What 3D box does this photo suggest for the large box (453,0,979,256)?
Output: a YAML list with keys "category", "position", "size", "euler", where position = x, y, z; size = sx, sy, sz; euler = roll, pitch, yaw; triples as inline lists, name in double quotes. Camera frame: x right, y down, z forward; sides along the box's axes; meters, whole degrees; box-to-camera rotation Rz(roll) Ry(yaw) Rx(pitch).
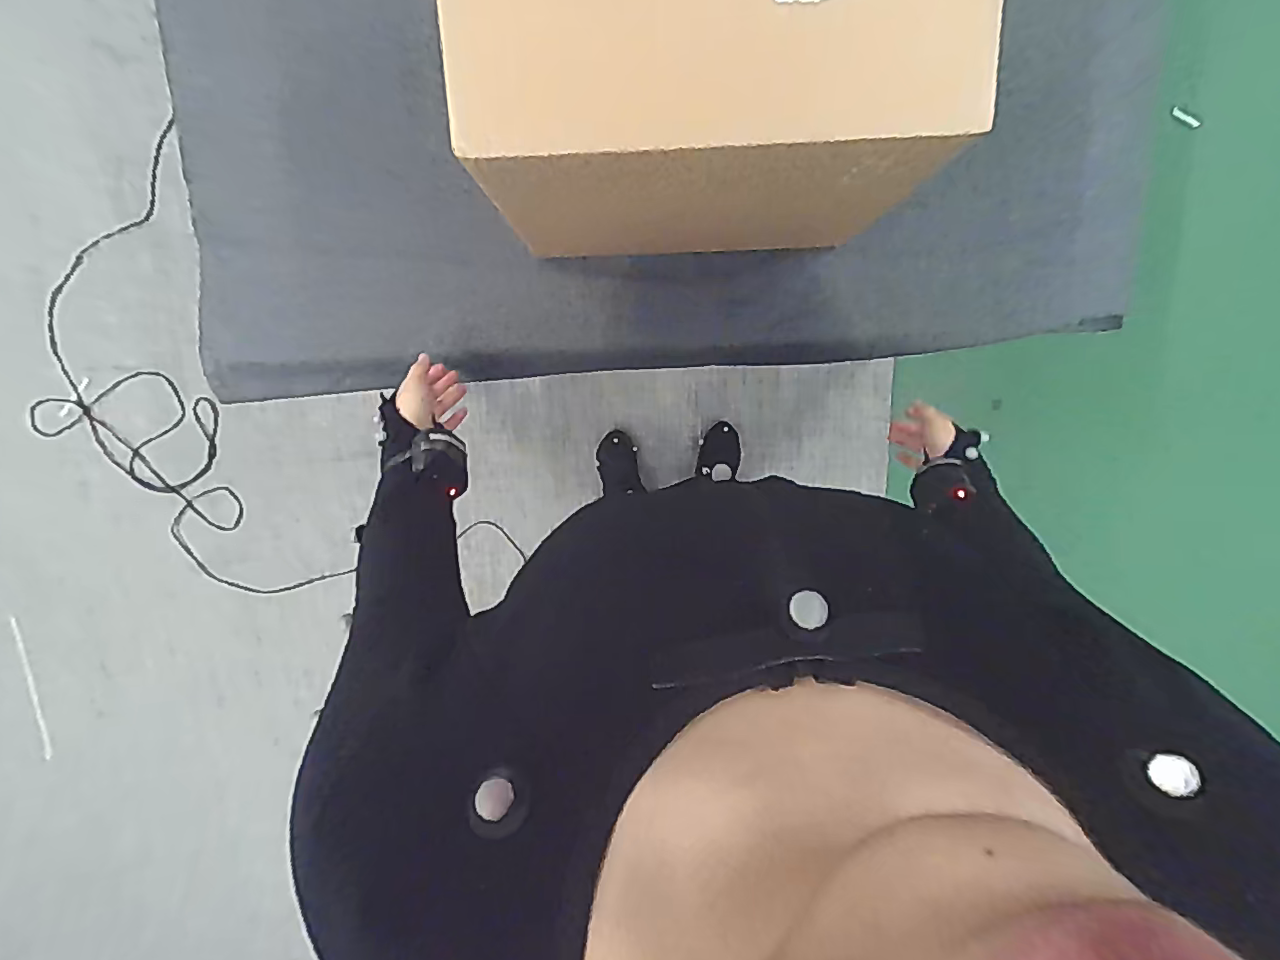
- category: "large box"
  position: [0.052, -0.434, 0.545]
  size: [0.408, 0.320, 0.320]
  euler: [-3, 100, 0]
